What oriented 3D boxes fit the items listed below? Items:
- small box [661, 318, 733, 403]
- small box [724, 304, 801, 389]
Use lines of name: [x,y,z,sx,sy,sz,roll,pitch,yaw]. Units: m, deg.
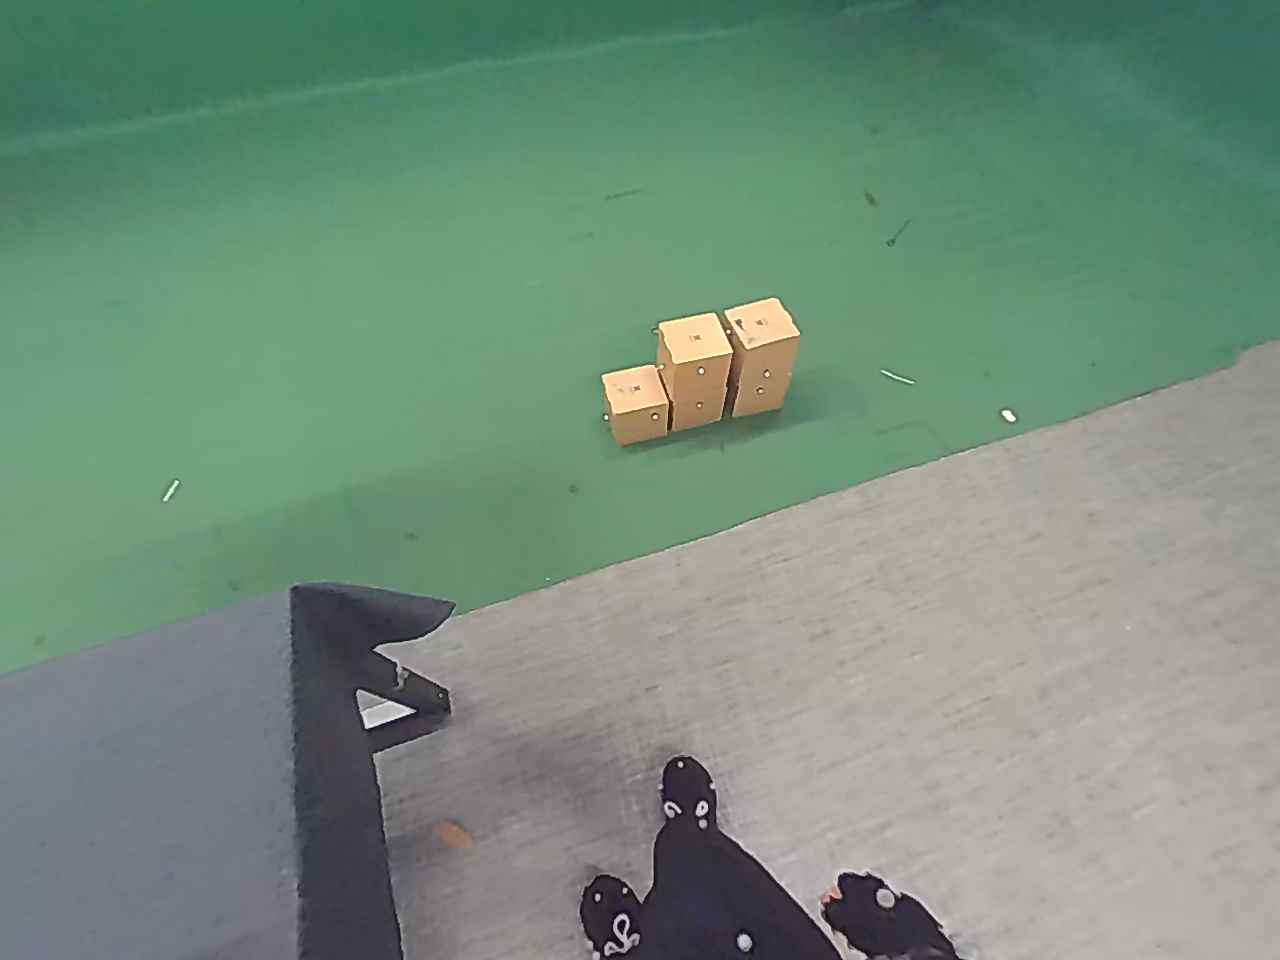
small box: [0.164,-0.354,1.623,0.179,0.176,0.168,-13,61,-5]
small box: [0.358,-0.403,1.647,0.179,0.176,0.168,-16,60,-10]
